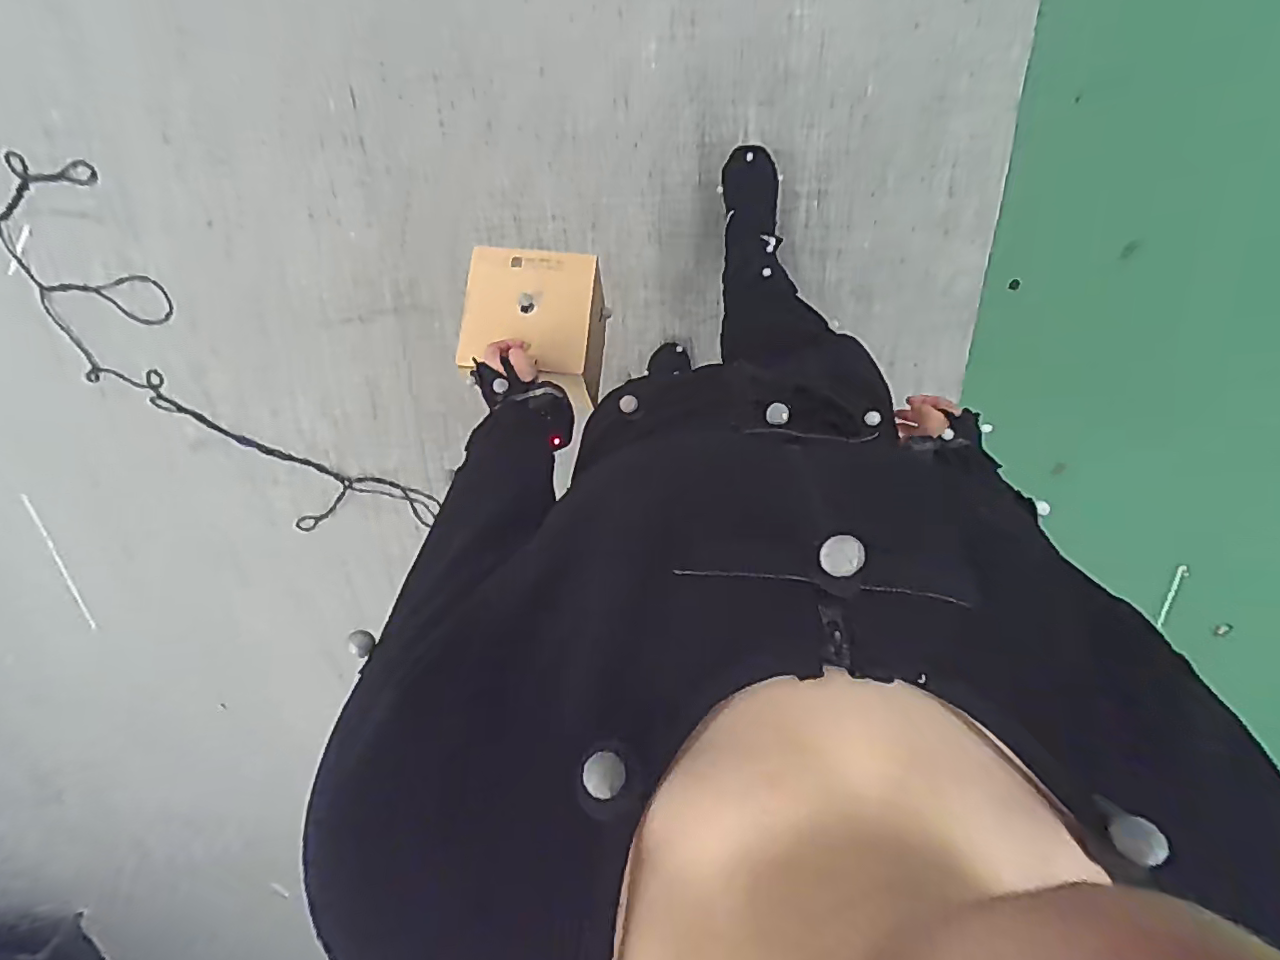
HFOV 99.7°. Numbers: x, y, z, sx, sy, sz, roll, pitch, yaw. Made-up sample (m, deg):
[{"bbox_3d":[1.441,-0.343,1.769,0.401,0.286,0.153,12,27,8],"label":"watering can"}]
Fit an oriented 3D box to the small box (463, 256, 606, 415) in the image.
[{"bbox_3d":[-0.140,-0.201,0.777,0.168,0.179,0.176,3,79,2],"label":"small box"}]
